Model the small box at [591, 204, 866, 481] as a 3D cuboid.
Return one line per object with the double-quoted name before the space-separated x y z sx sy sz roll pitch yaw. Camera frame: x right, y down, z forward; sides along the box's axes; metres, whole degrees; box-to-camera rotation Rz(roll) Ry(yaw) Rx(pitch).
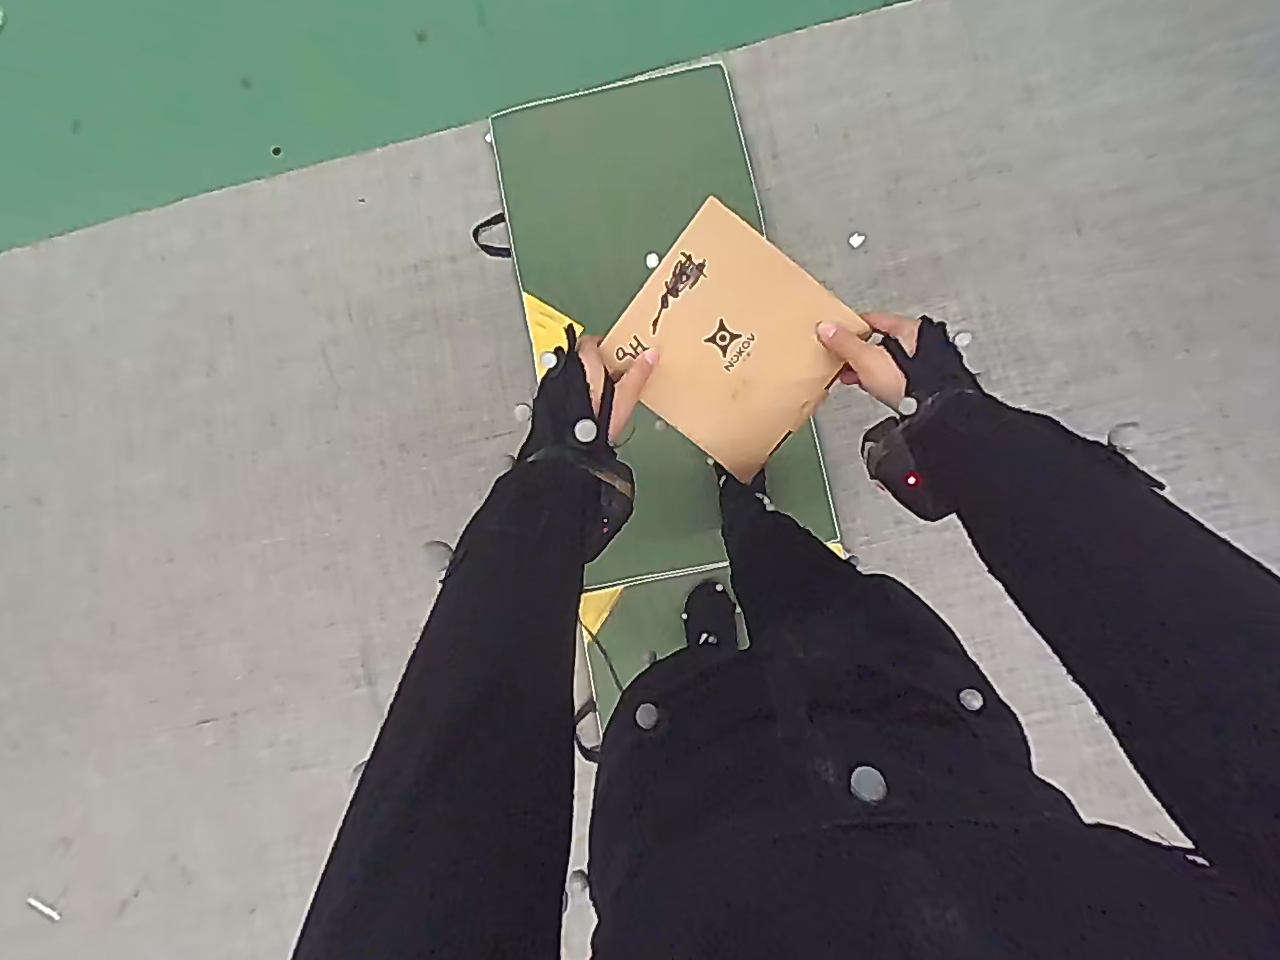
"small box" 0.076 -0.125 0.534 0.179 0.176 0.168 38 98 -5
